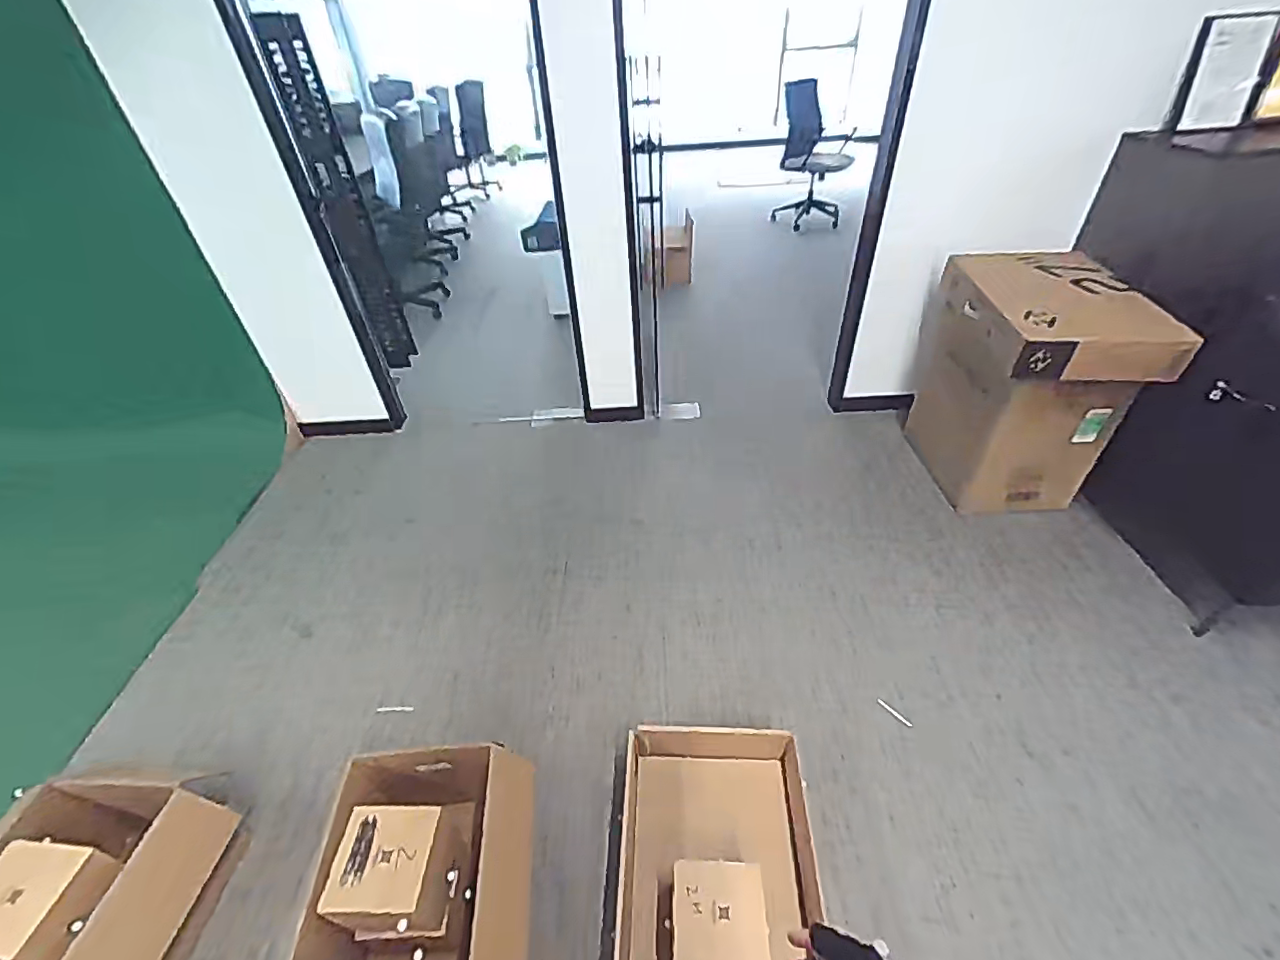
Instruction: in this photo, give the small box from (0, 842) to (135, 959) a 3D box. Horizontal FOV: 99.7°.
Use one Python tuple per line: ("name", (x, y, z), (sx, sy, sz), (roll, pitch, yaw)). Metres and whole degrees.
("small box", (-1.127, 0.808, 1.014), (0.179, 0.176, 0.168), (2, 39, 4))
